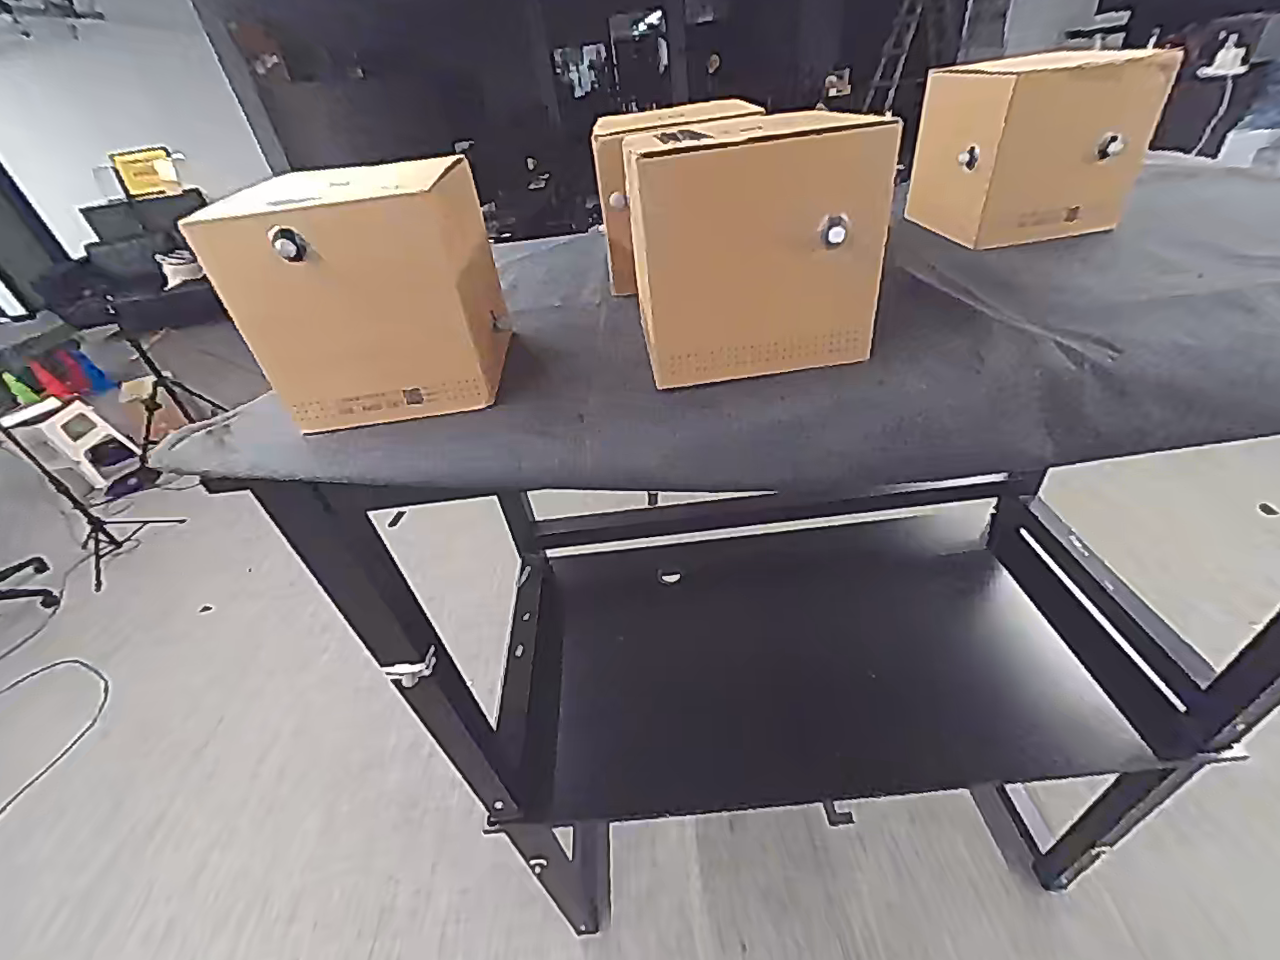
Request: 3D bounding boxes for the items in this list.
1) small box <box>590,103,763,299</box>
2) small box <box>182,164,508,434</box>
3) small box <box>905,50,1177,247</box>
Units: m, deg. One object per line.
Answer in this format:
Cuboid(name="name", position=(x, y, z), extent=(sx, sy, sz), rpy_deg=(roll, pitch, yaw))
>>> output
Cuboid(name="small box", position=(0.042, -0.334, 0.649), extent=(0.179, 0.176, 0.168), rpy_deg=(-7, 38, 3))
Cuboid(name="small box", position=(-0.220, -0.160, 0.469), extent=(0.168, 0.176, 0.179), rpy_deg=(-9, 37, 0))
Cuboid(name="small box", position=(0.440, -0.384, 0.634), extent=(0.168, 0.176, 0.179), rpy_deg=(-8, 38, 0))
